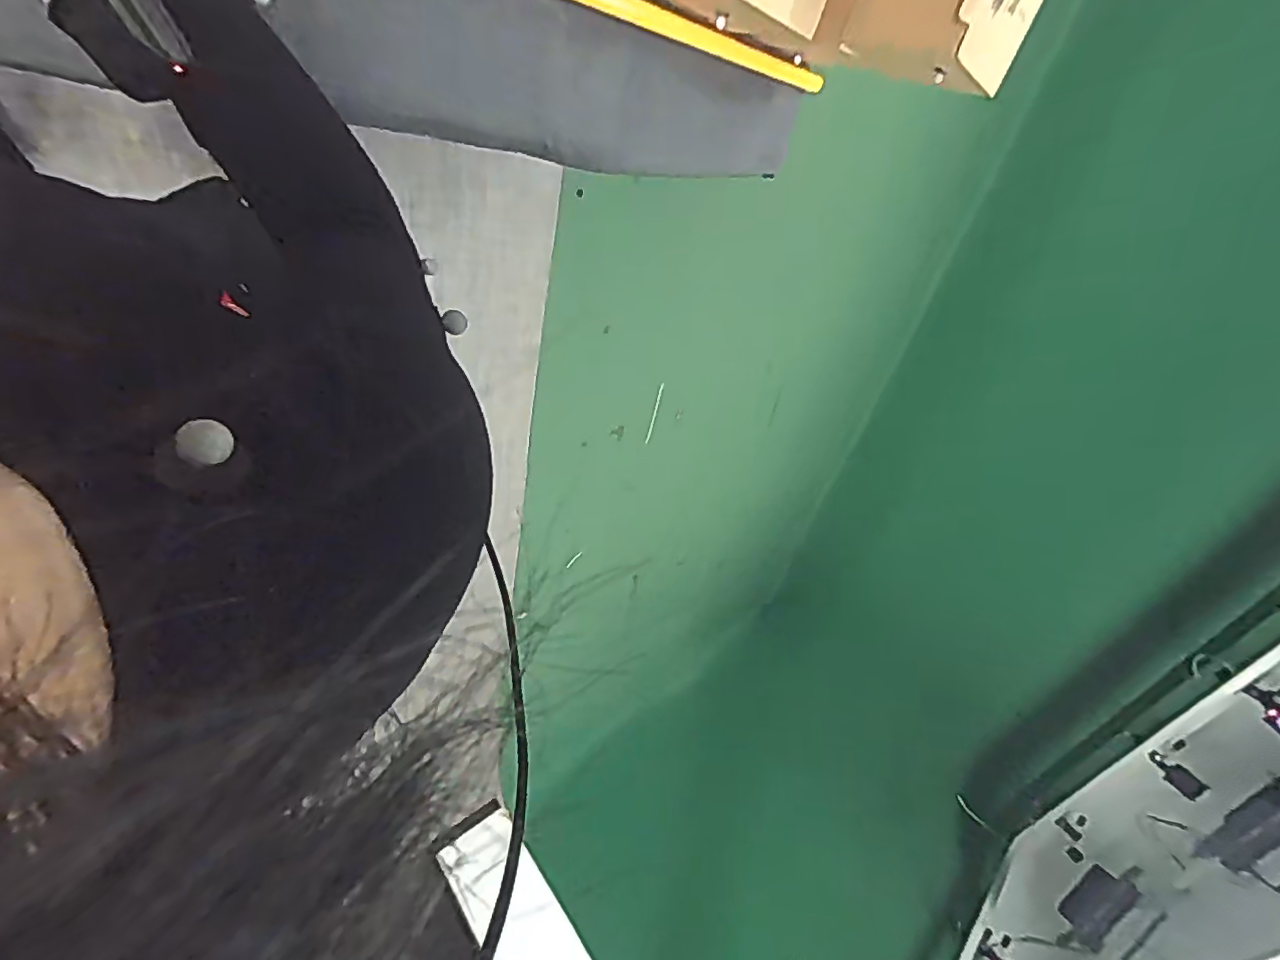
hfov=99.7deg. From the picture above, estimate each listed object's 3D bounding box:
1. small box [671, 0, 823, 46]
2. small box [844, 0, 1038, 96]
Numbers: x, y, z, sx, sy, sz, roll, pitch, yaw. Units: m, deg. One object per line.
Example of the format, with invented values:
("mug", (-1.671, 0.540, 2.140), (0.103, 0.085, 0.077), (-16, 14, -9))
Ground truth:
("small box", (0.131, -0.671, 0.658), (0.168, 0.176, 0.179), (-14, 134, -42))
("small box", (0.404, -0.640, 0.714), (0.179, 0.176, 0.168), (-14, 134, -43))
